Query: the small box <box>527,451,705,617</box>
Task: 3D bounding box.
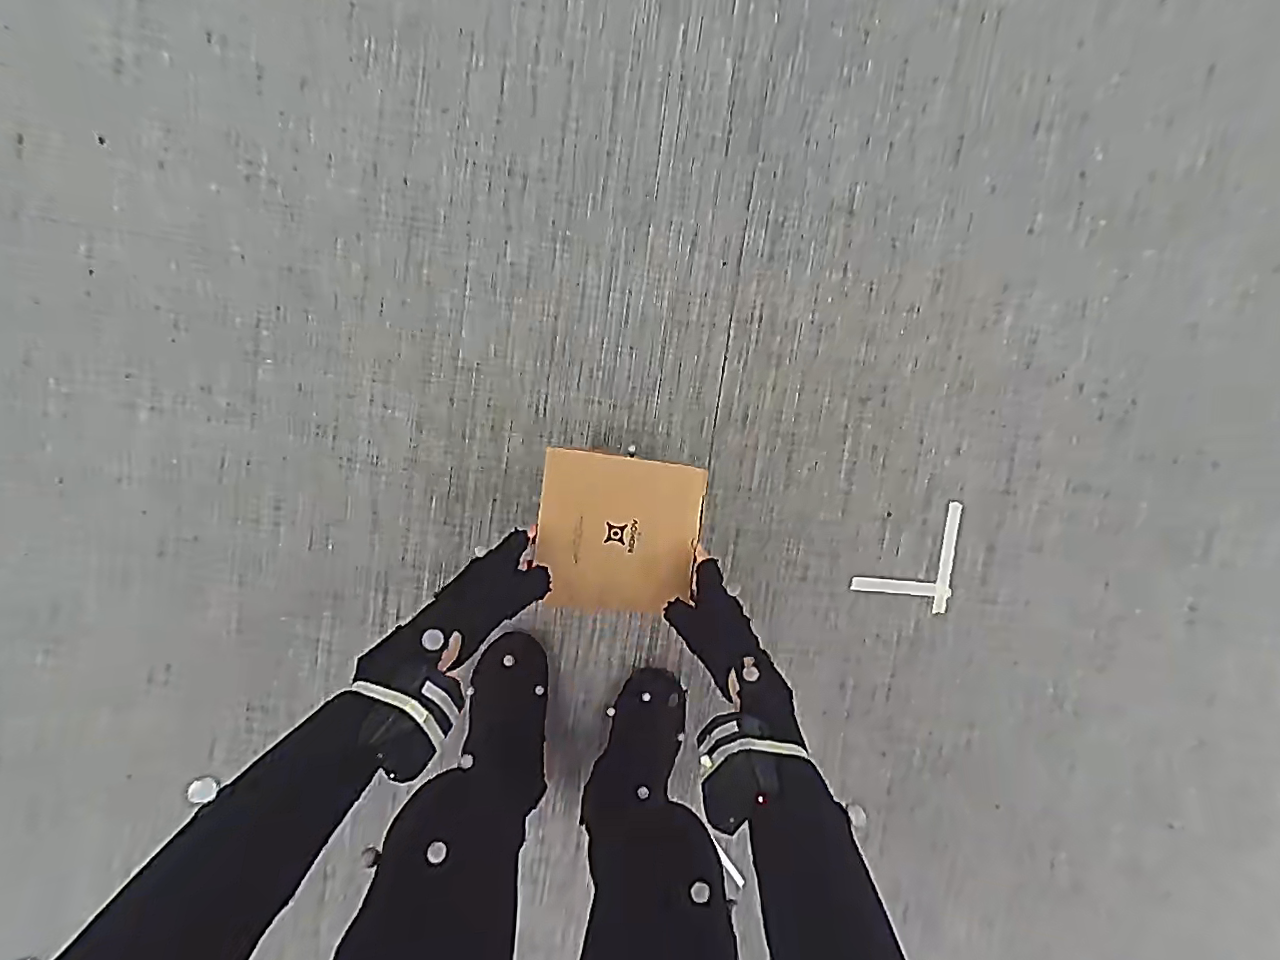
[{"bbox_3d":[-0.033,0.056,0.662,0.179,0.176,0.168,7,92,-6],"label":"small box"}]
